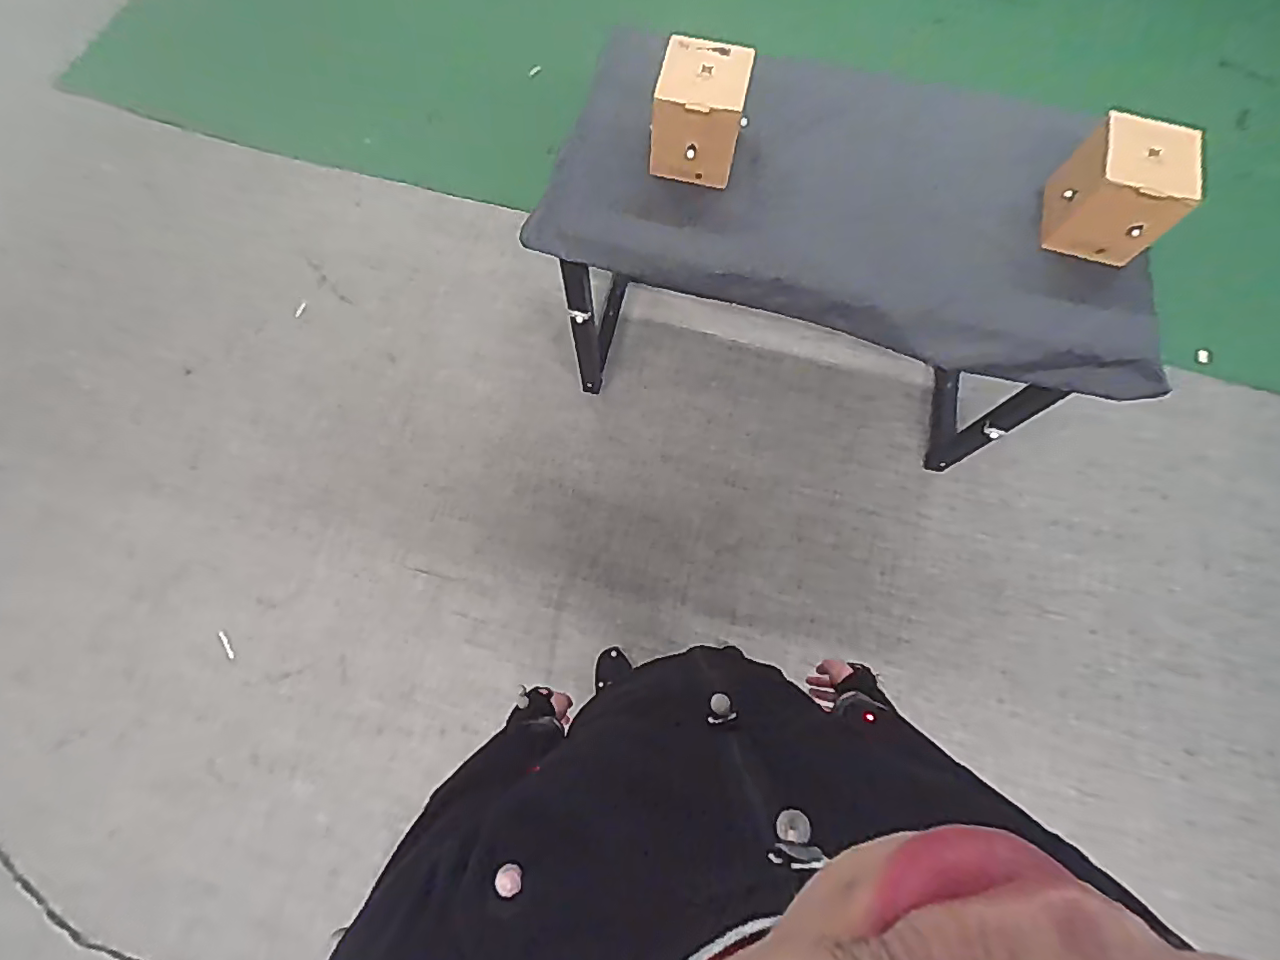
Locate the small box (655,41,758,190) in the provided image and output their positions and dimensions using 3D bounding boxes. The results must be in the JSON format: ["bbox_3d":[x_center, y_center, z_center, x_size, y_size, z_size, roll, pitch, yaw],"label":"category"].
[{"bbox_3d":[0.126,-0.721,1.084,0.168,0.176,0.179,13,72,3],"label":"small box"}]

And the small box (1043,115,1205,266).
[{"bbox_3d":[0.913,-0.544,1.034,0.168,0.176,0.179,17,71,4],"label":"small box"}]
